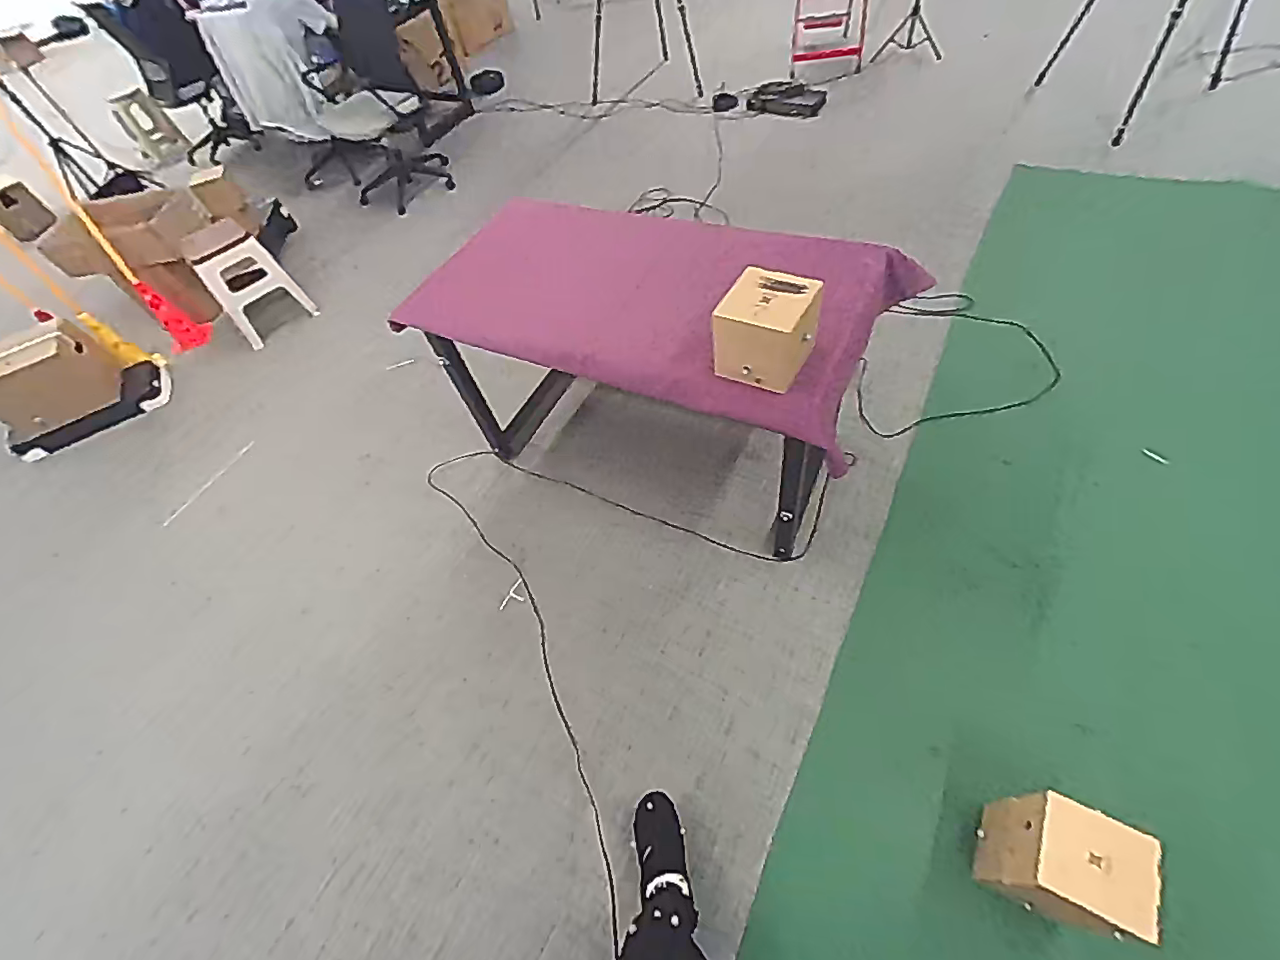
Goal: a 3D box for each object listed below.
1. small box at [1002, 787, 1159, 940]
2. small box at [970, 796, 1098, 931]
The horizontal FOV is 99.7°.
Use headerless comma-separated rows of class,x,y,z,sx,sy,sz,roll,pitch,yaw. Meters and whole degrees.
small box,0.818,0.717,1.019,0.179,0.176,0.168,21,60,21
small box,0.842,0.807,1.151,0.179,0.176,0.168,20,61,23
